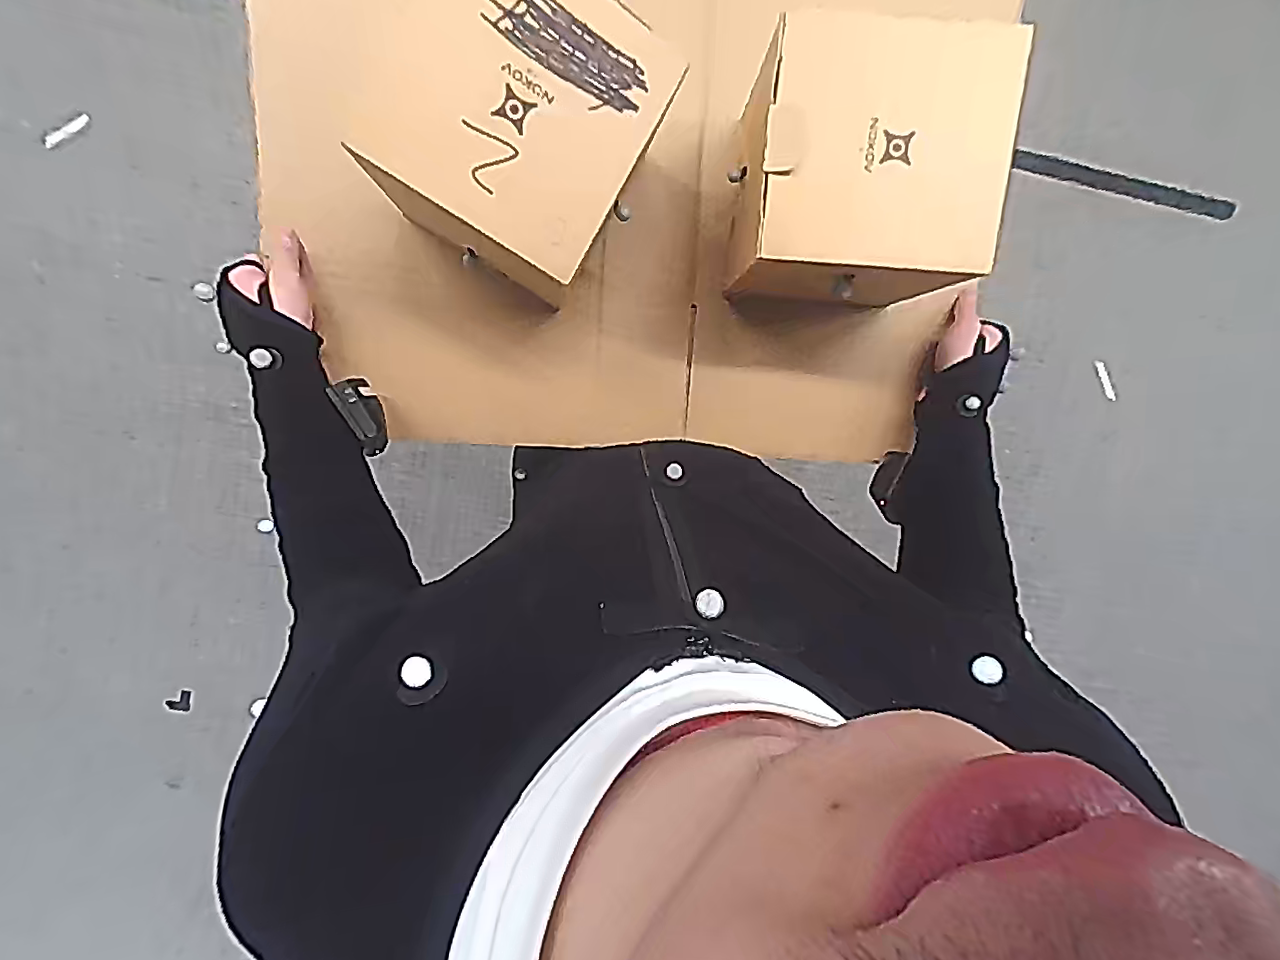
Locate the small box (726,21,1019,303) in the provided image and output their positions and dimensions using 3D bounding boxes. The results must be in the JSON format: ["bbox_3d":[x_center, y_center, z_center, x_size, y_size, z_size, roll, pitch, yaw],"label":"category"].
[{"bbox_3d":[0.182,-0.257,0.482,0.179,0.176,0.168,4,100,0],"label":"small box"}]
